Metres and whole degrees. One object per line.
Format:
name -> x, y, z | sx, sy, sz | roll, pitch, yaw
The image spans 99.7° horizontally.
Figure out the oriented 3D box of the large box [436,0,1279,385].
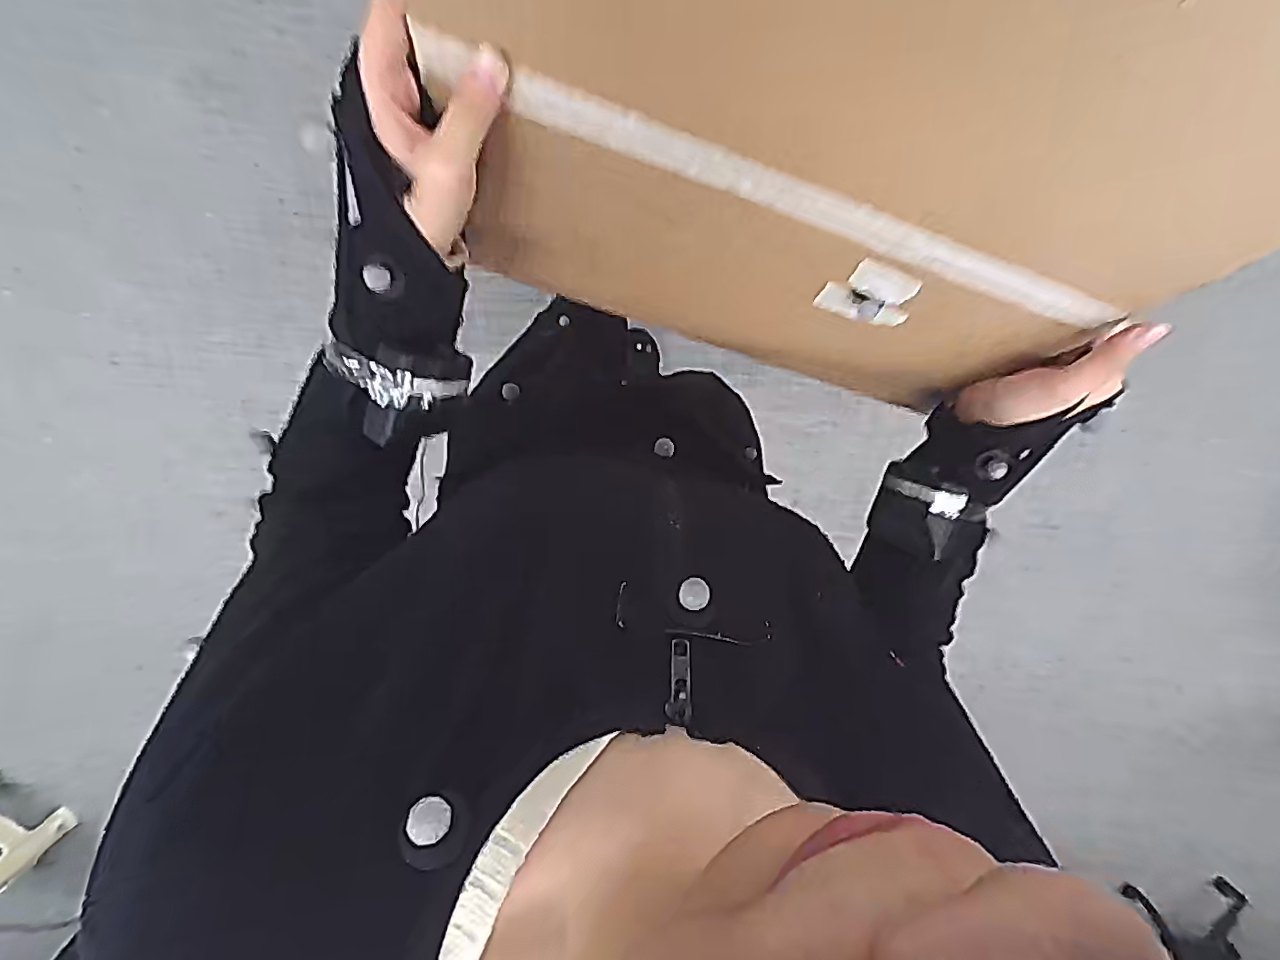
large box -> 0.129, -0.301, 0.300 | 0.408, 0.320, 0.320 | 14, 73, -11
